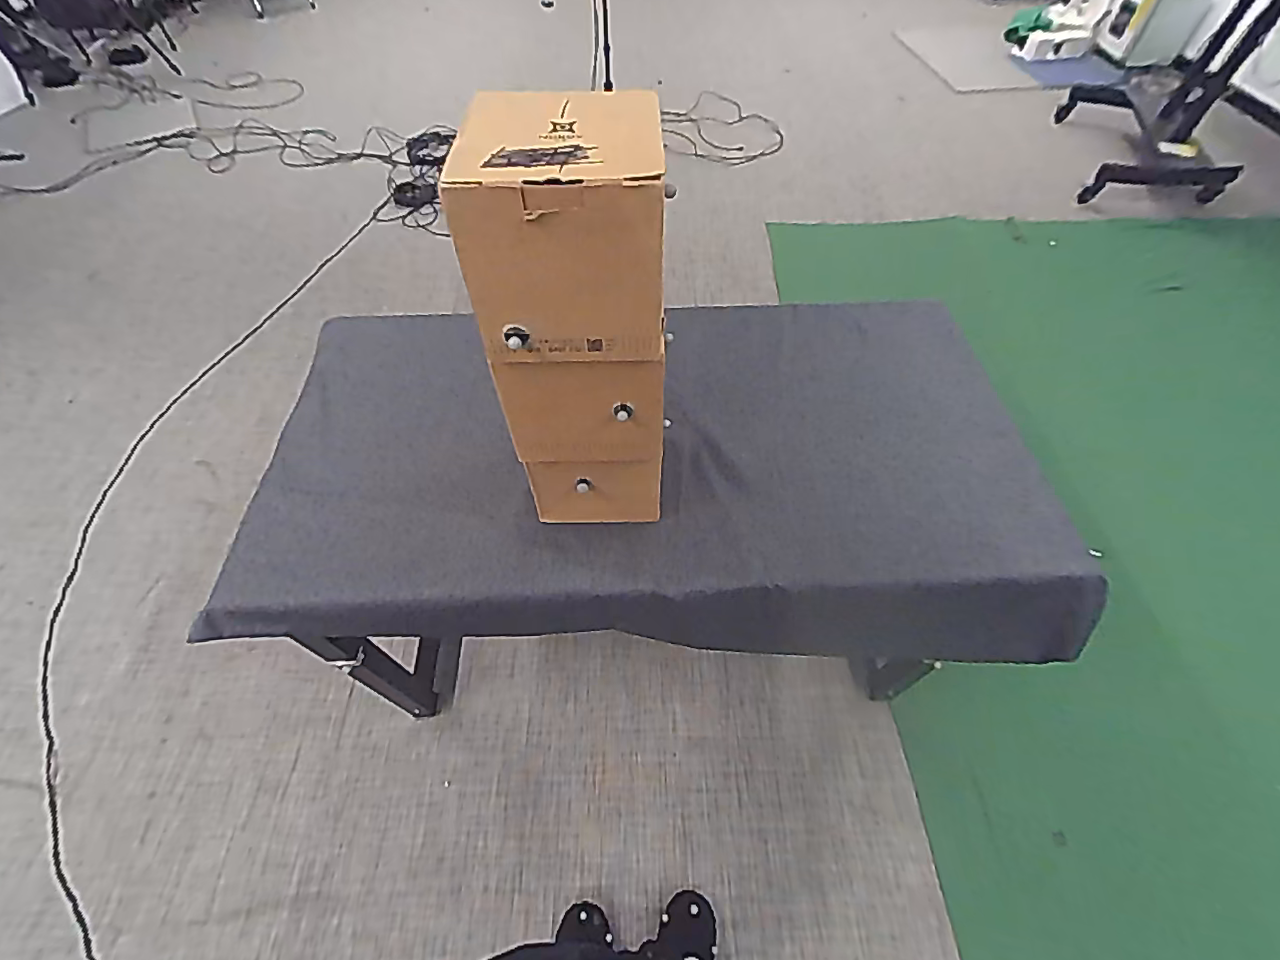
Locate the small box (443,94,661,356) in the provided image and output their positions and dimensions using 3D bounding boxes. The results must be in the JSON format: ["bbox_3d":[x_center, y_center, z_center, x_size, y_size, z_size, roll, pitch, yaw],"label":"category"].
[{"bbox_3d":[-0.064,-0.232,0.507,0.168,0.176,0.179,0,53,0],"label":"small box"}]

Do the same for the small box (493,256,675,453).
[{"bbox_3d":[-0.060,-0.146,0.627,0.179,0.176,0.168,-3,55,-3],"label":"small box"}]

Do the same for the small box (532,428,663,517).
[{"bbox_3d":[-0.060,-0.057,0.786,0.179,0.176,0.168,-2,53,-2],"label":"small box"}]
